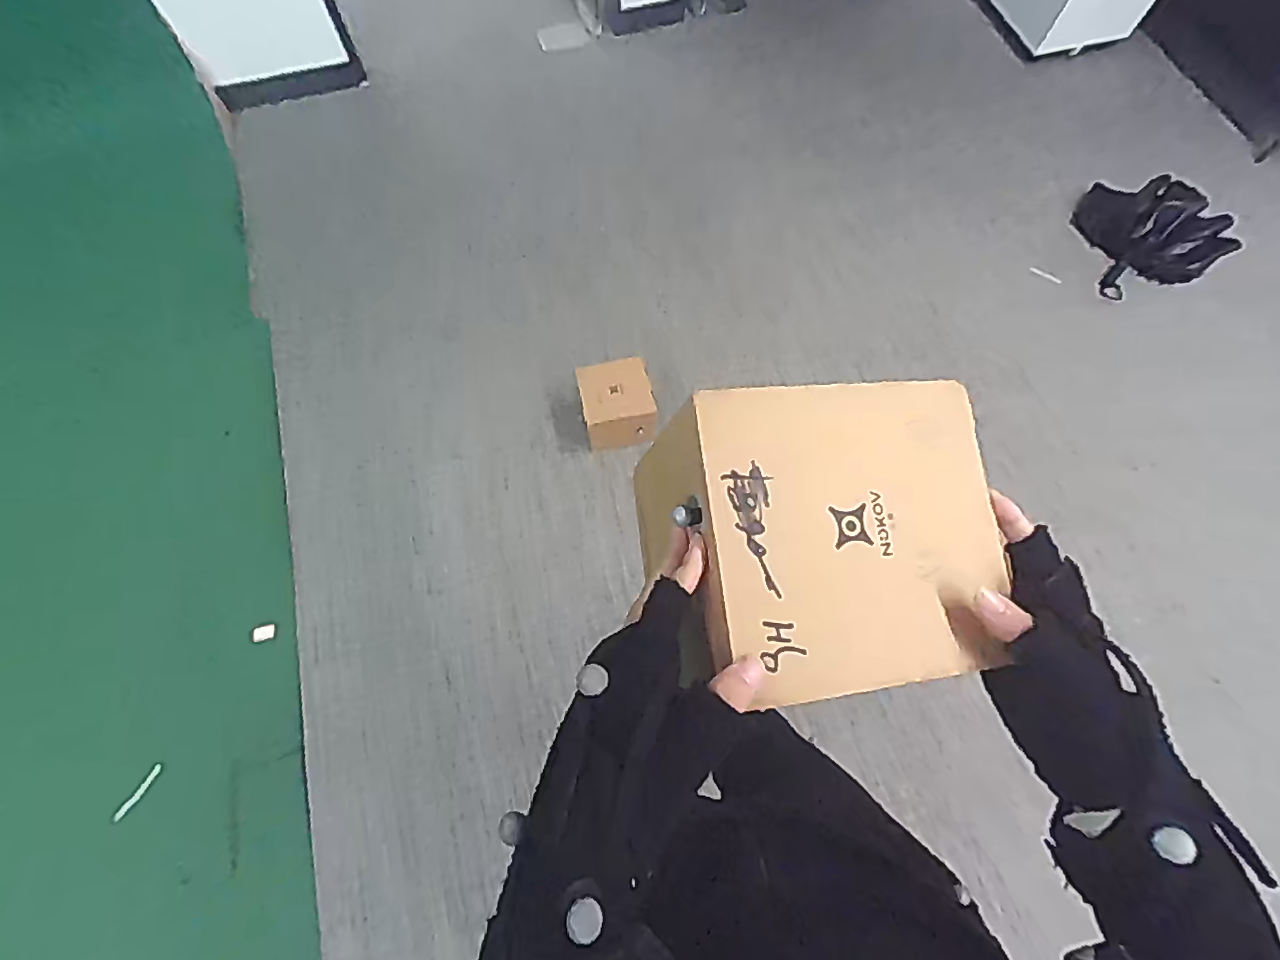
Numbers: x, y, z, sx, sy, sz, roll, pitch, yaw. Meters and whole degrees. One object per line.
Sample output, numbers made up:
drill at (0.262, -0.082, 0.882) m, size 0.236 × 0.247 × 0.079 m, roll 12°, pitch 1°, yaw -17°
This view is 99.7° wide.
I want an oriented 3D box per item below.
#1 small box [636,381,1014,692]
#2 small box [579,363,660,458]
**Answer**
small box at (0.105, 0.042, 0.378) m, size 0.179 × 0.176 × 0.168 m, roll -1°, pitch 77°, yaw -14°
small box at (-0.052, -0.177, 1.413) m, size 0.179 × 0.176 × 0.168 m, roll -13°, pitch 69°, yaw -4°
